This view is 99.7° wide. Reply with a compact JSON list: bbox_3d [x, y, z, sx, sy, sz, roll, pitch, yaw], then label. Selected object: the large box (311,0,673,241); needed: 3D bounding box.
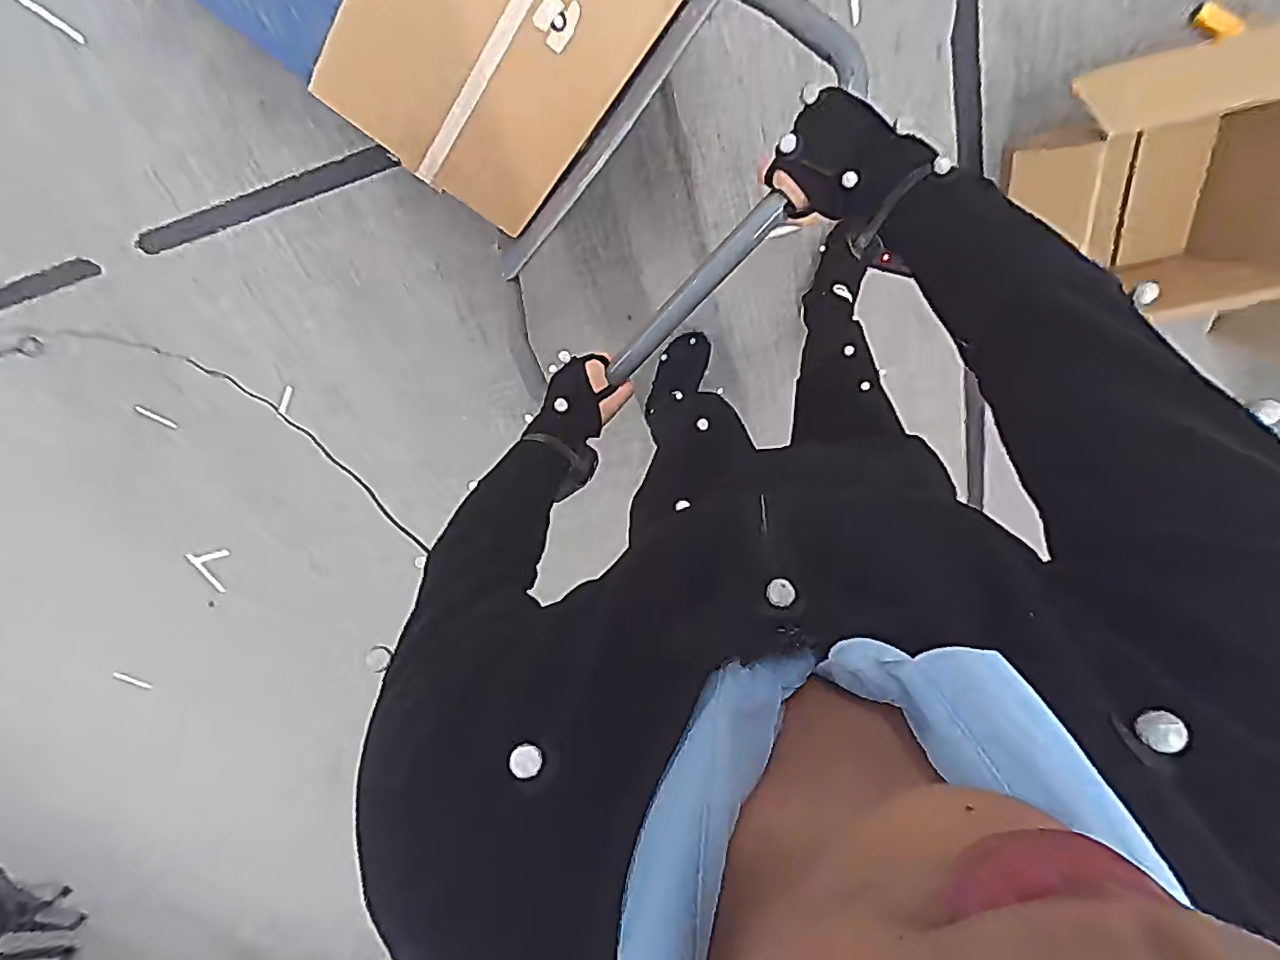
[{"bbox_3d":[-0.214,-0.657,0.790,0.320,0.320,0.408,25,124,-35],"label":"large box"}]
